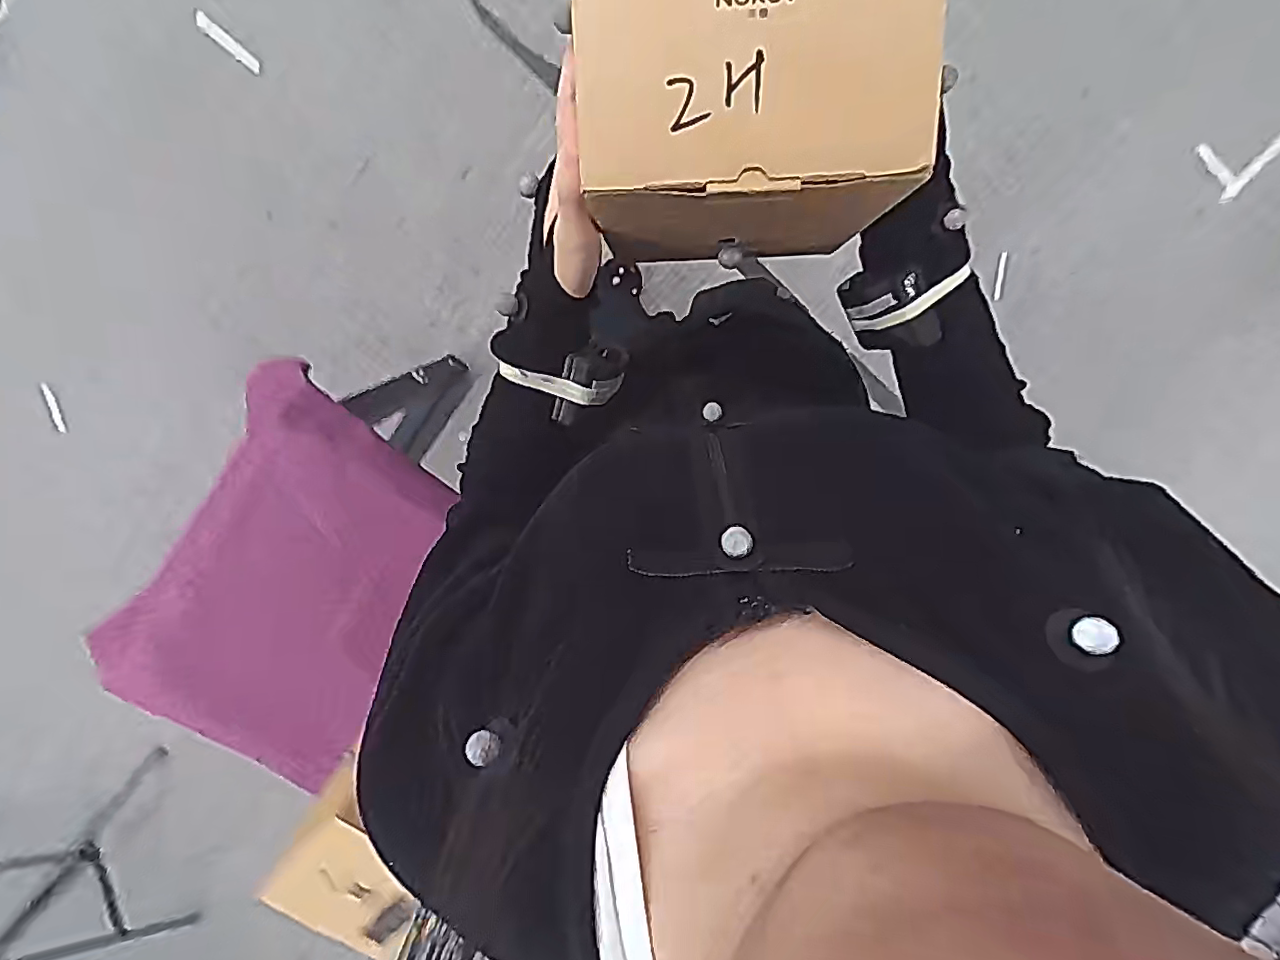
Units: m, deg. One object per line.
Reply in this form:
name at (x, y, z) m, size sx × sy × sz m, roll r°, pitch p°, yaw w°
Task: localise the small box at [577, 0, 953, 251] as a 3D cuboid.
small box at (0.058, -0.244, 0.311) m, size 0.168 × 0.176 × 0.179 m, roll 0°, pitch 102°, yaw 4°
